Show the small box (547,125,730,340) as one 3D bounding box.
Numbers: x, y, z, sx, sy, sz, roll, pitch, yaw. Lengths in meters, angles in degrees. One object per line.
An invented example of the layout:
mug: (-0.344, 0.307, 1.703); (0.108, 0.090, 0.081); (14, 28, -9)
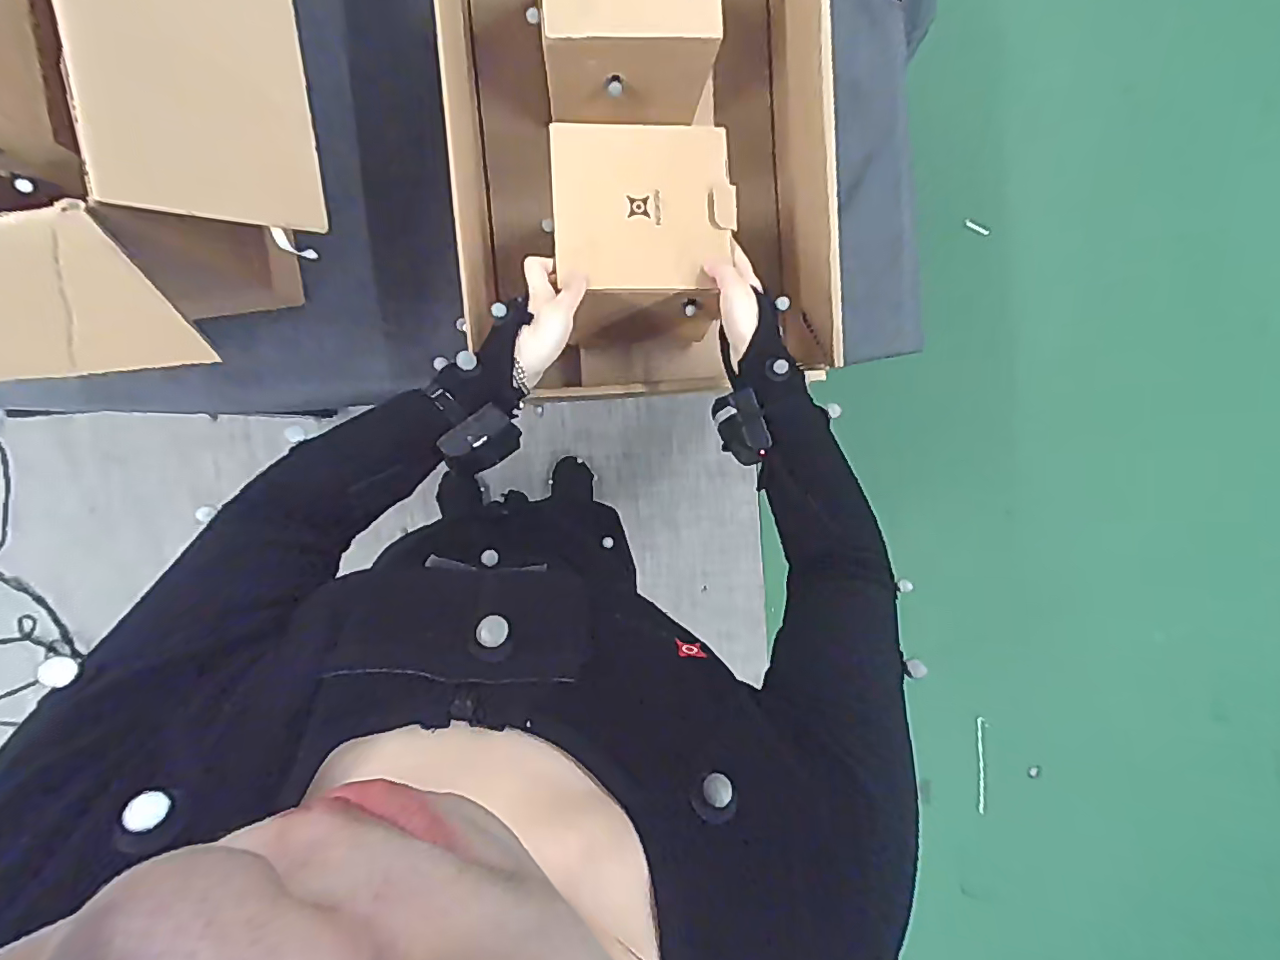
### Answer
small box: (-0.008, -0.262, 0.609); (0.179, 0.176, 0.168); (-3, 88, -6)

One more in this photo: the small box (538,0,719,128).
small box: (-0.019, -0.513, 0.593); (0.179, 0.176, 0.168); (-4, 98, -5)
